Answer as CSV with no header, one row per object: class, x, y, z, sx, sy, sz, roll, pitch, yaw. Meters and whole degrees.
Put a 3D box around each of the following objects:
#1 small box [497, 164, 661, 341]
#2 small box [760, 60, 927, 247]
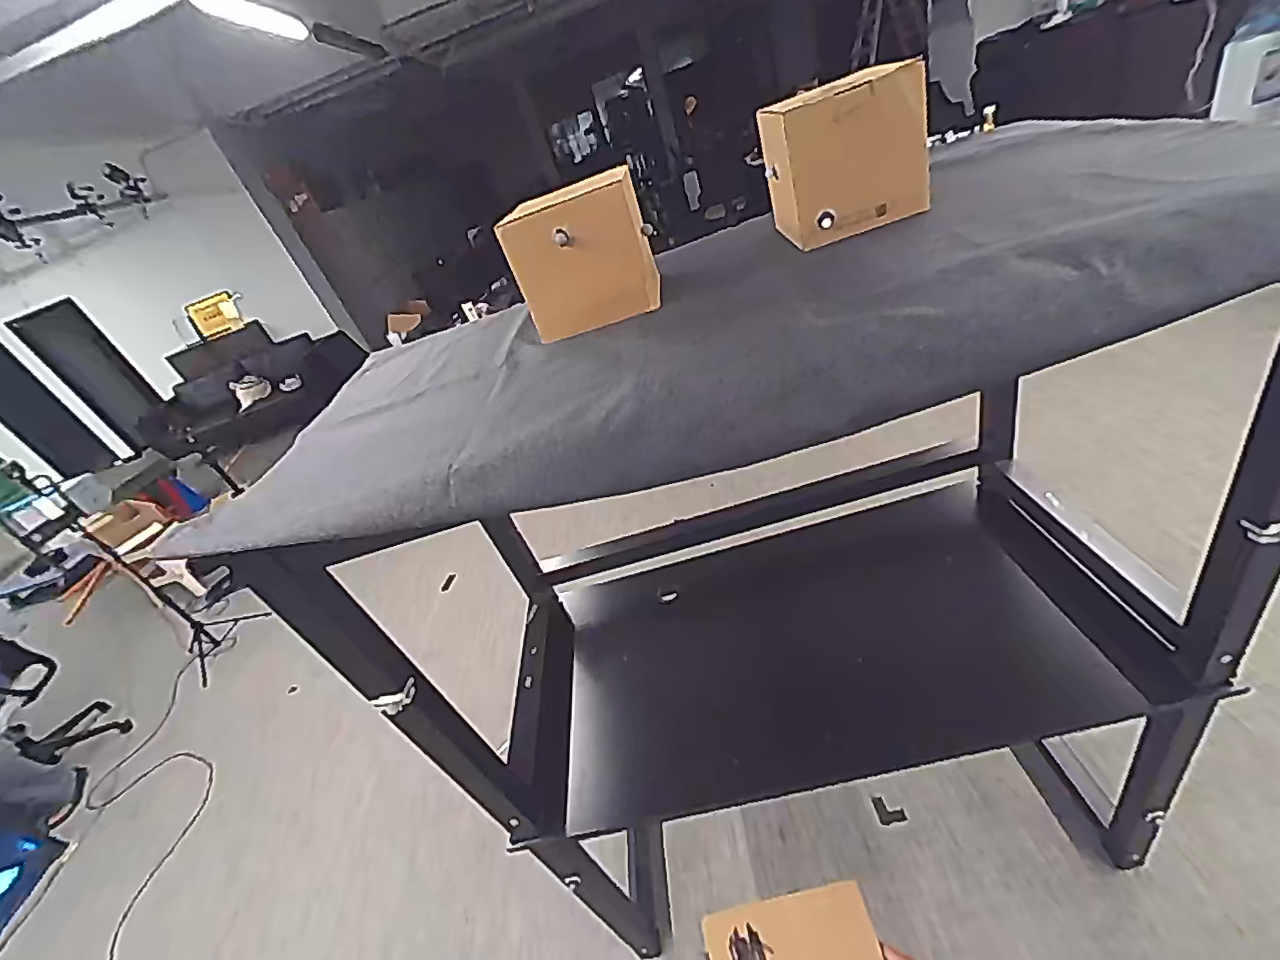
small box,-0.072,-0.323,0.774,0.179,0.176,0.168,-14,34,12
small box,0.275,-0.438,0.740,0.168,0.176,0.179,-15,33,10
